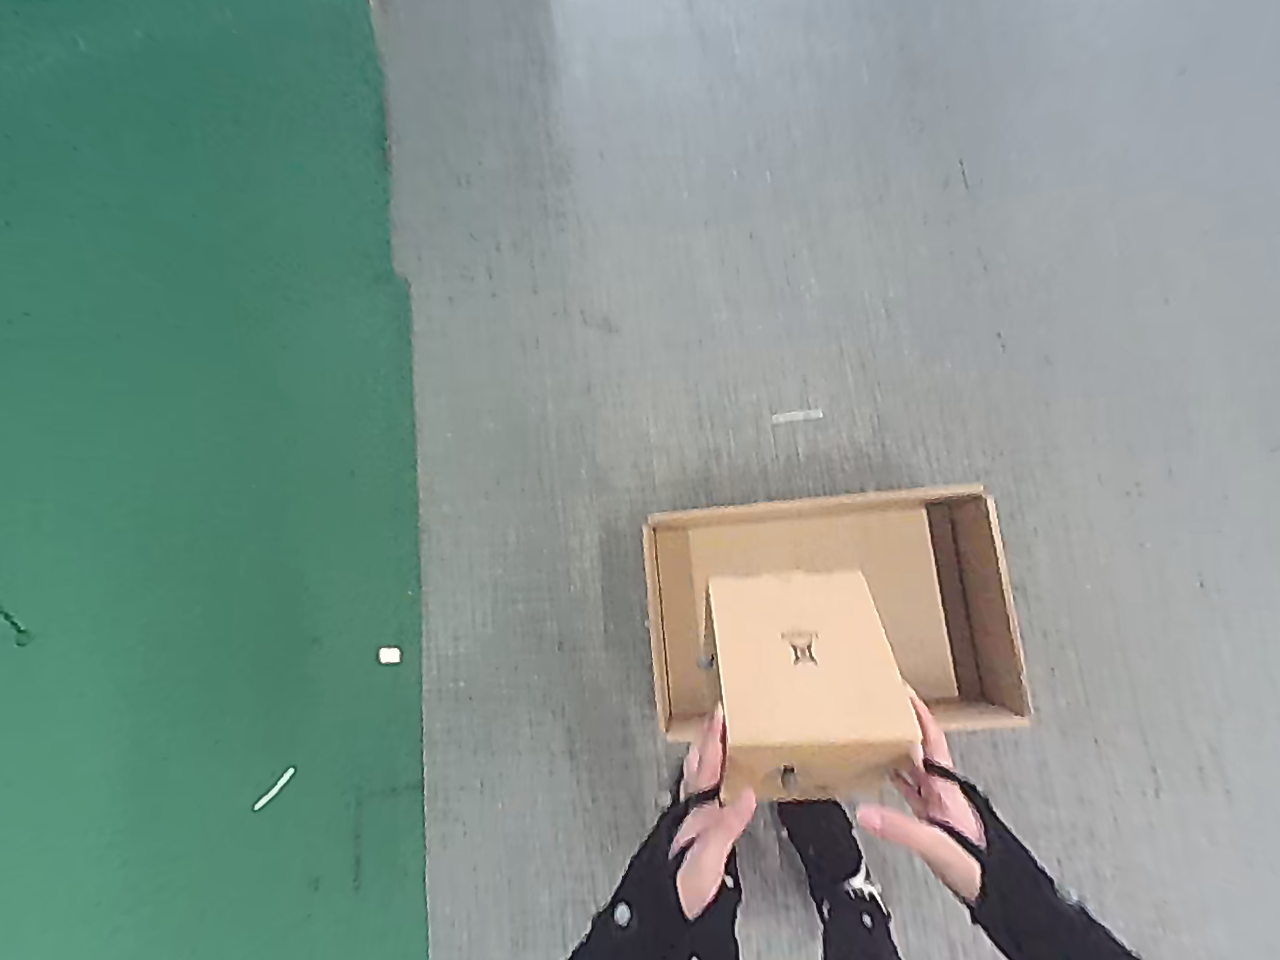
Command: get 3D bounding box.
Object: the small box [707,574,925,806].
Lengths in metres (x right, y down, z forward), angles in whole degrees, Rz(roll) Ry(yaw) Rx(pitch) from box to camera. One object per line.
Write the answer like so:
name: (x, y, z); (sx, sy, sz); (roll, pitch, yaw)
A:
small box: (0.160, 0.220, 0.558); (0.168, 0.176, 0.179); (-3, 43, 2)
